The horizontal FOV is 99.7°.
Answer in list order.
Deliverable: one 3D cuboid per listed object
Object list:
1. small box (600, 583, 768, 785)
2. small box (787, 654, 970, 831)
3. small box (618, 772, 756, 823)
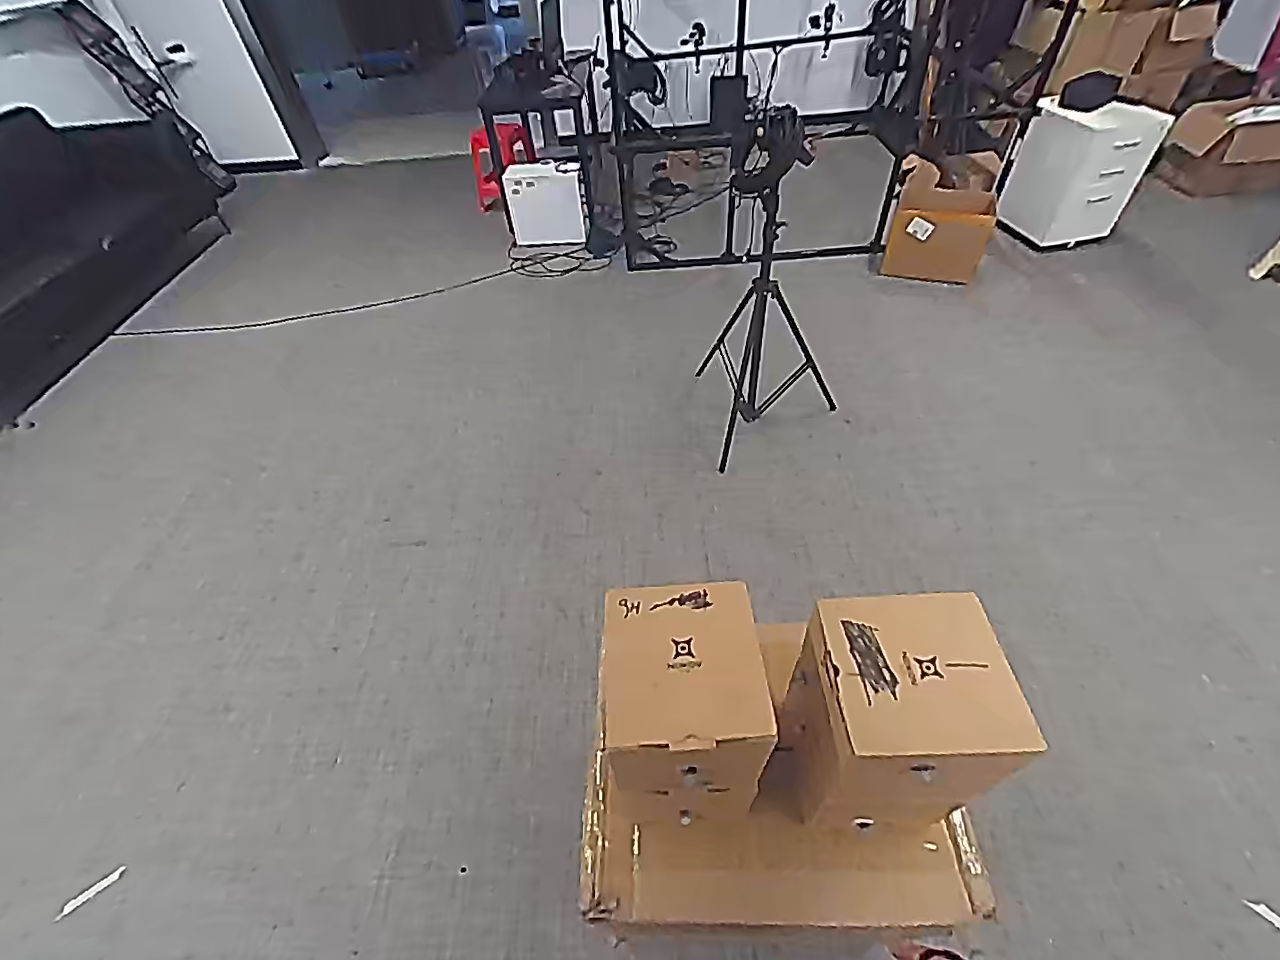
[{"bbox_3d":[0.046,0.243,0.632,0.168,0.176,0.179,-4,48,1],"label":"small box"},{"bbox_3d":[0.301,0.356,0.731,0.168,0.176,0.179,-5,49,5],"label":"small box"},{"bbox_3d":[0.058,0.356,0.752,0.168,0.176,0.179,-3,48,2],"label":"small box"}]
